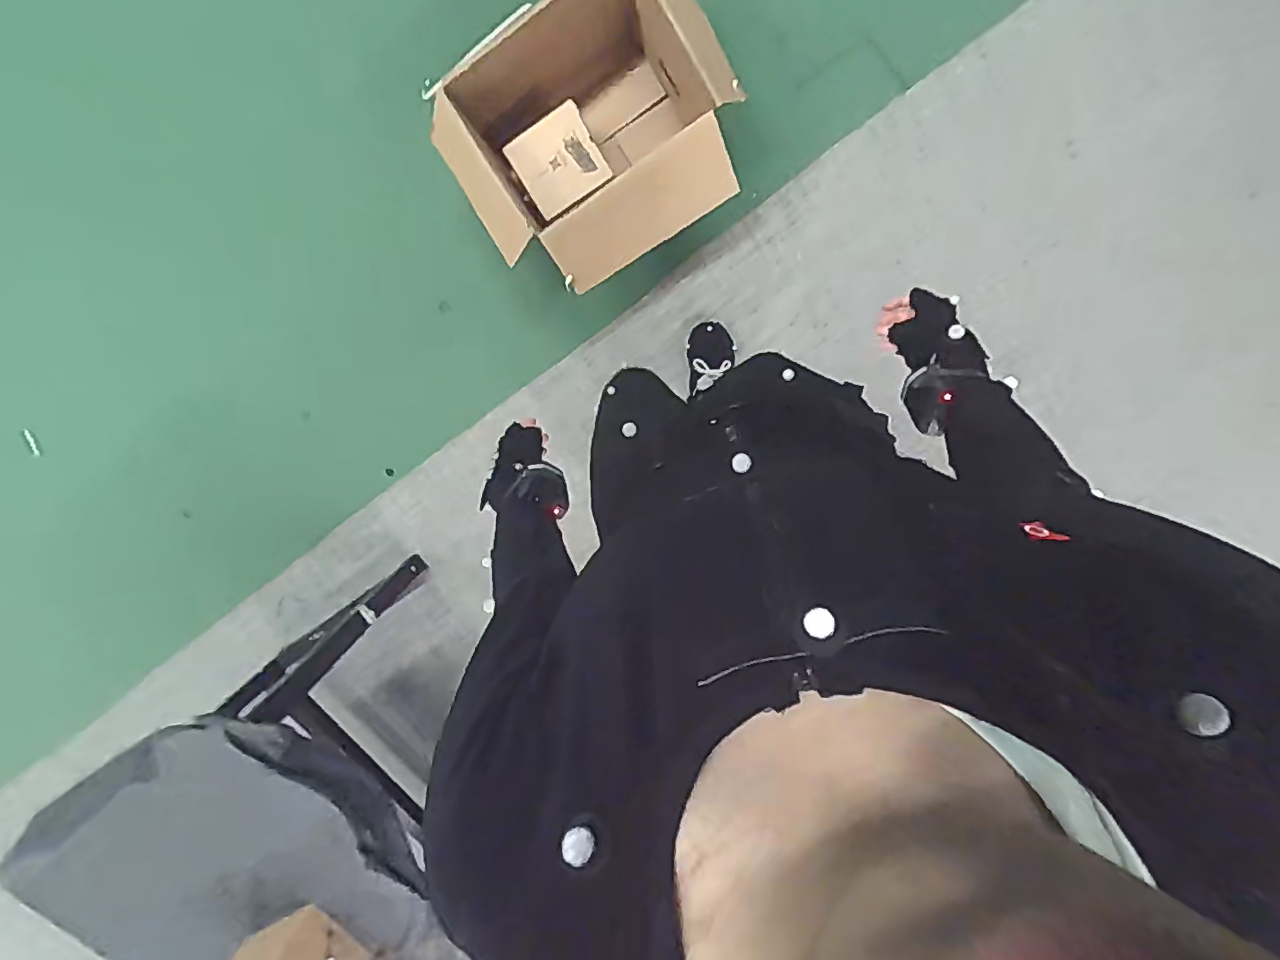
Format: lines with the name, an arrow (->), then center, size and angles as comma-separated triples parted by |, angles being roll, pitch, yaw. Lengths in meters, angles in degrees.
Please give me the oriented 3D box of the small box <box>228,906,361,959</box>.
small box -> -0.622, 0.886, 0.919 | 0.179, 0.176, 0.168 | -32, 104, 9
